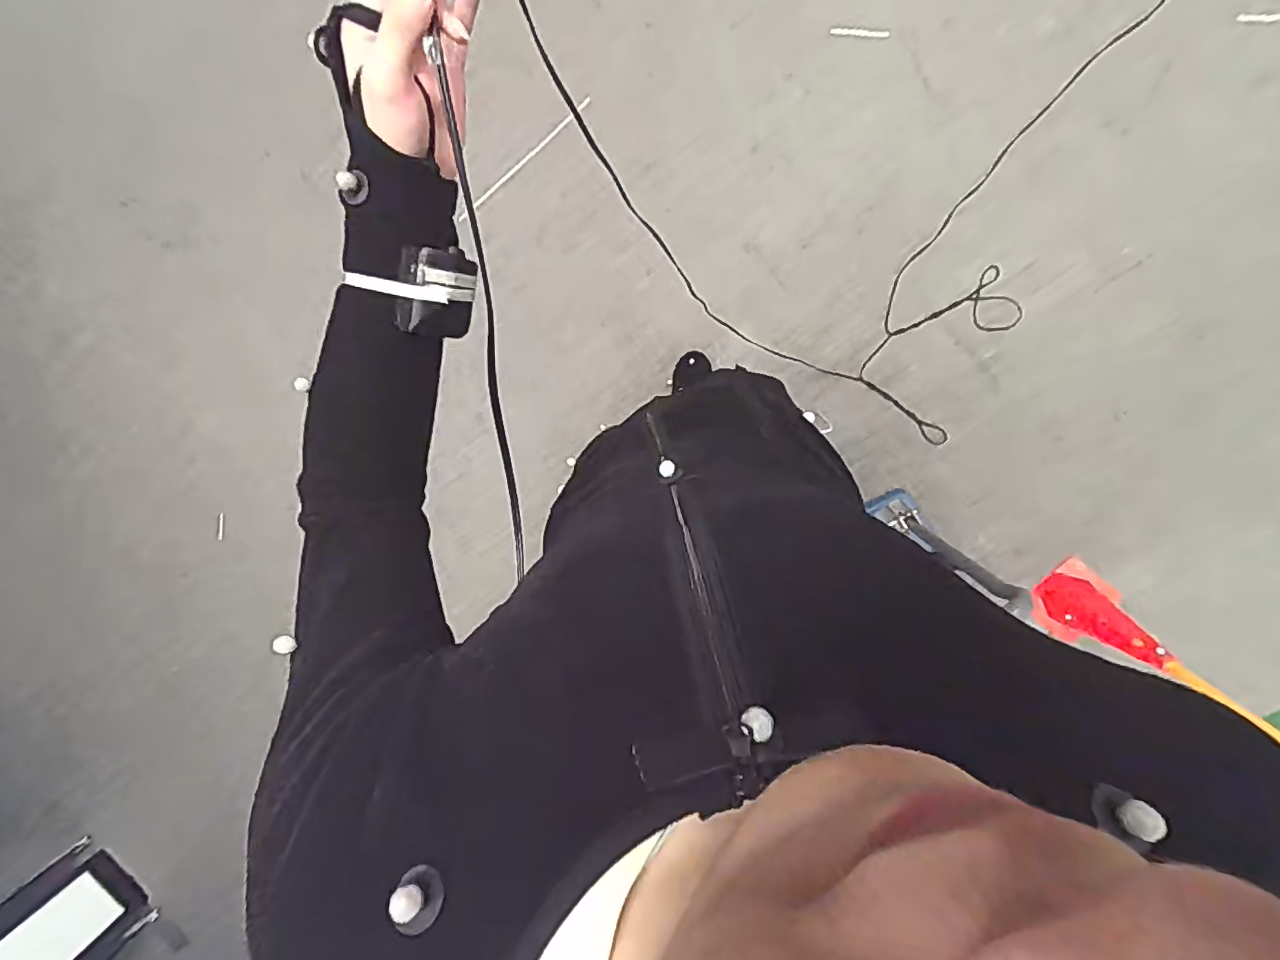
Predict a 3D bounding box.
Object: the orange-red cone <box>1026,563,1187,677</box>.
[{"bbox_3d":[1.220,0.388,1.376,0.198,0.360,0.199,40,102,-3],"label":"orange-red cone"}]
